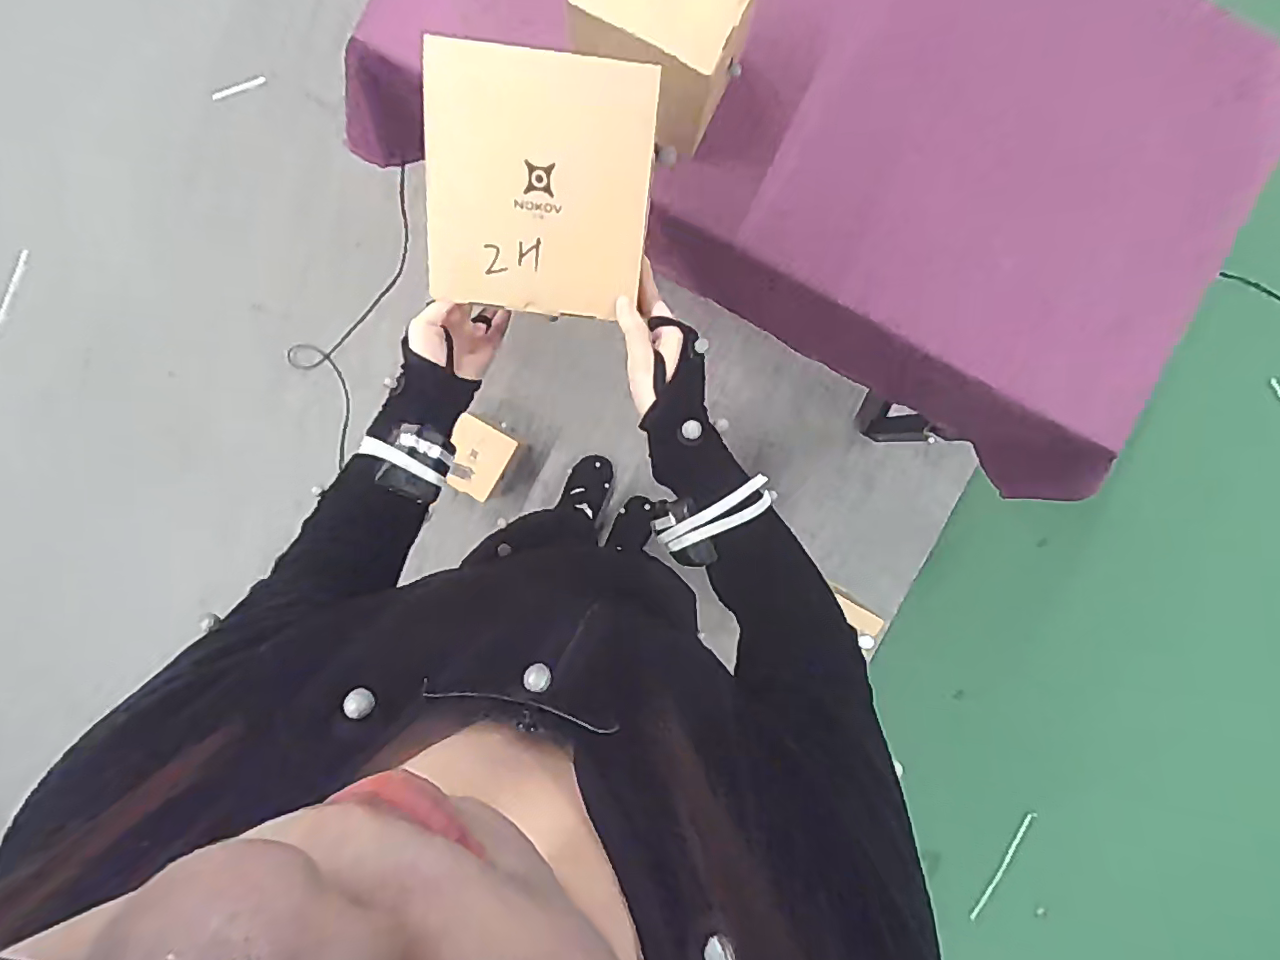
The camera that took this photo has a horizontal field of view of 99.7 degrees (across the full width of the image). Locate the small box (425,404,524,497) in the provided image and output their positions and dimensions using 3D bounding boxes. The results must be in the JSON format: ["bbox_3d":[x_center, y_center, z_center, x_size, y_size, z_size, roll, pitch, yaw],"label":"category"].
[{"bbox_3d":[-0.417,-0.077,1.399,0.168,0.176,0.179,31,92,-5],"label":"small box"}]

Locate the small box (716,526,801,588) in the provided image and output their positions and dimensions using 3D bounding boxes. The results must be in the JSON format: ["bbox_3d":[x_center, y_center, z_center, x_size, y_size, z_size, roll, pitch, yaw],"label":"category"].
[{"bbox_3d":[0.325,0.236,1.453,0.179,0.176,0.168,31,93,-5],"label":"small box"}]

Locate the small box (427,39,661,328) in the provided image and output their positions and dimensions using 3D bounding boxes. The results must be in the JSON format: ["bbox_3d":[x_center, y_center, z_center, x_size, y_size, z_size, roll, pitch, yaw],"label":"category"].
[{"bbox_3d":[-0.077,-0.242,0.479,0.168,0.176,0.179,7,111,-2],"label":"small box"}]

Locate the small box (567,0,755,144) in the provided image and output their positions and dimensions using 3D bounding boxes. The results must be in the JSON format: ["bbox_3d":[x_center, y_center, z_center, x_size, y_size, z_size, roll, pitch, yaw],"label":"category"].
[{"bbox_3d":[0.030,-0.547,0.648,0.179,0.176,0.168,26,92,-5],"label":"small box"}]
